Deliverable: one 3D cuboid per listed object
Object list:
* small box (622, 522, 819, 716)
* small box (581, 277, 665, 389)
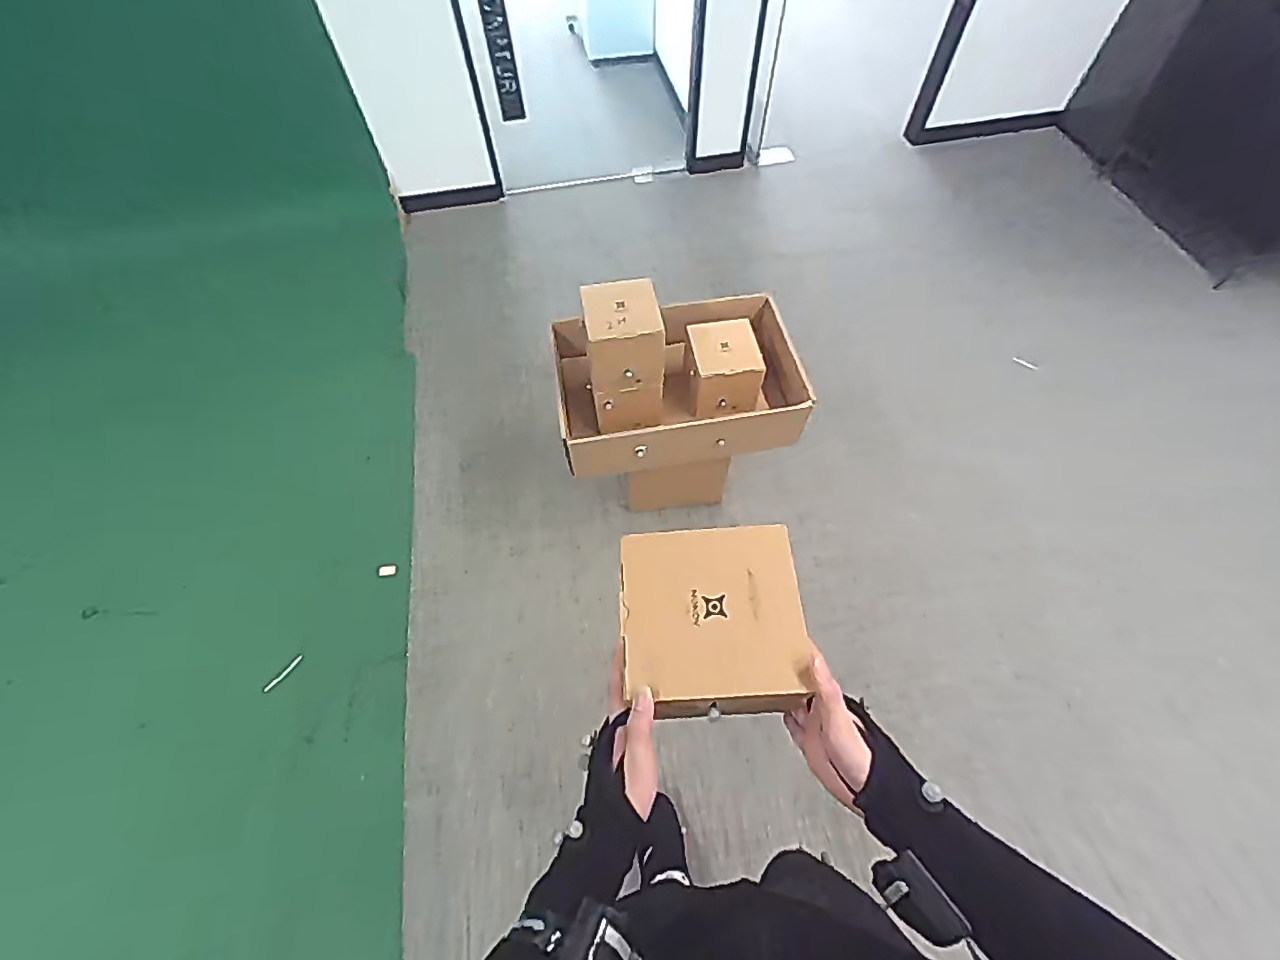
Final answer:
[{"bbox_3d":[0.076,0.157,0.586,0.179,0.176,0.168,-3,61,2],"label":"small box"},{"bbox_3d":[-0.041,-0.335,1.243,0.168,0.176,0.179,-9,60,-5],"label":"small box"}]
